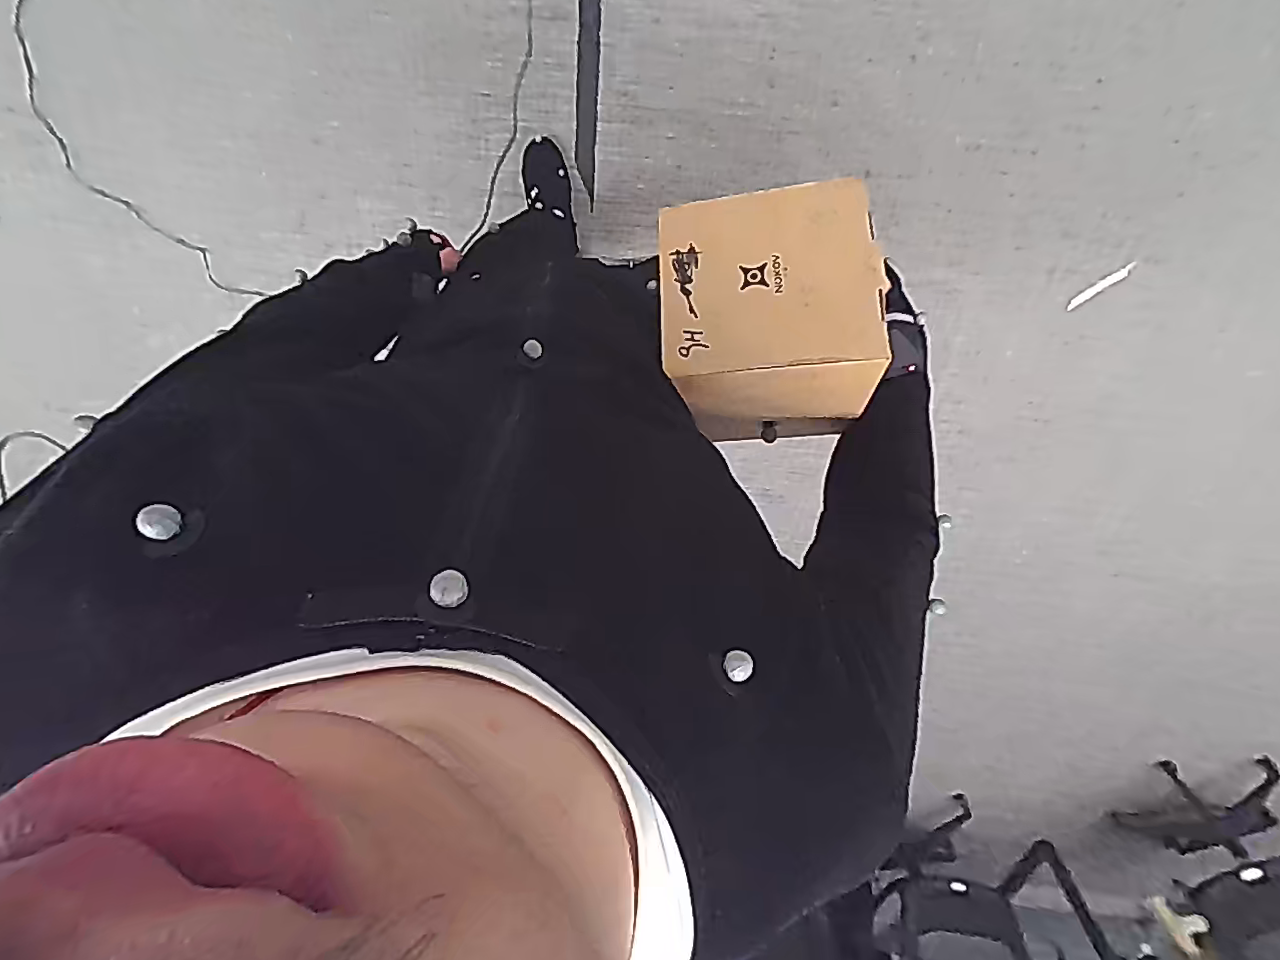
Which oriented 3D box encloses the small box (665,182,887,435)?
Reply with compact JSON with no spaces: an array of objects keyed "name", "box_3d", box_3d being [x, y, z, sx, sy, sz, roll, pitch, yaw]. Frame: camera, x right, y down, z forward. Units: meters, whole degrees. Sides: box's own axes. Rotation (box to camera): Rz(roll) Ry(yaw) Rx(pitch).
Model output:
[{"name":"small box","box_3d":[0.122,-0.151,0.530,0.179,0.168,0.176,-4,164,11]}]
